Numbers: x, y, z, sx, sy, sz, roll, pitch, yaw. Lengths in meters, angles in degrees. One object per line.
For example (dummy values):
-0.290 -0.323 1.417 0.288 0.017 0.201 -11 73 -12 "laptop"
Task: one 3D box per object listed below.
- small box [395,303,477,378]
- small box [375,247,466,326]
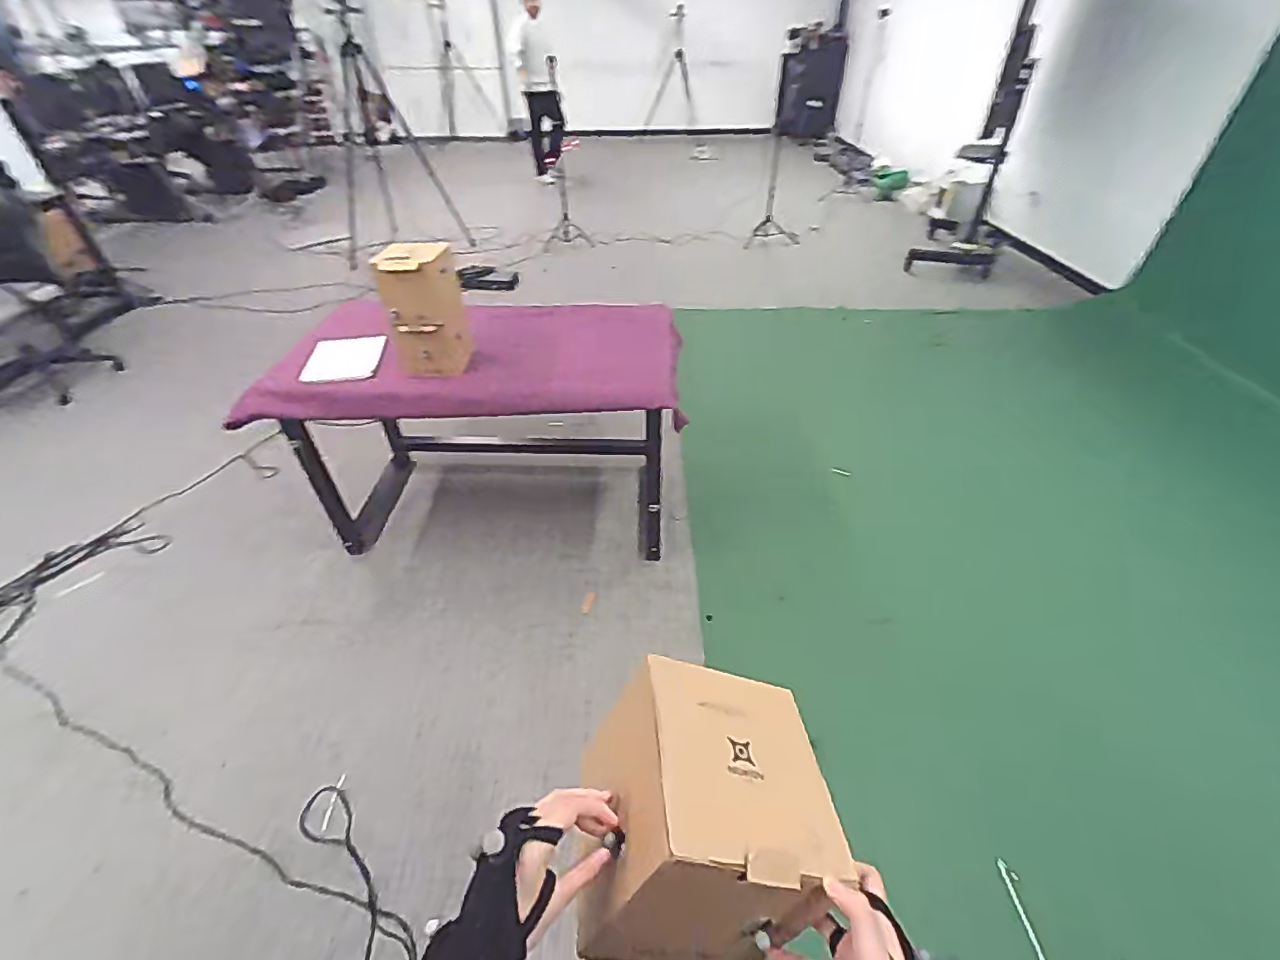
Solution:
-0.601 -0.419 1.624 0.168 0.176 0.179 2 41 1 "small box"
-0.602 -0.541 1.513 0.168 0.176 0.179 1 39 2 "small box"
